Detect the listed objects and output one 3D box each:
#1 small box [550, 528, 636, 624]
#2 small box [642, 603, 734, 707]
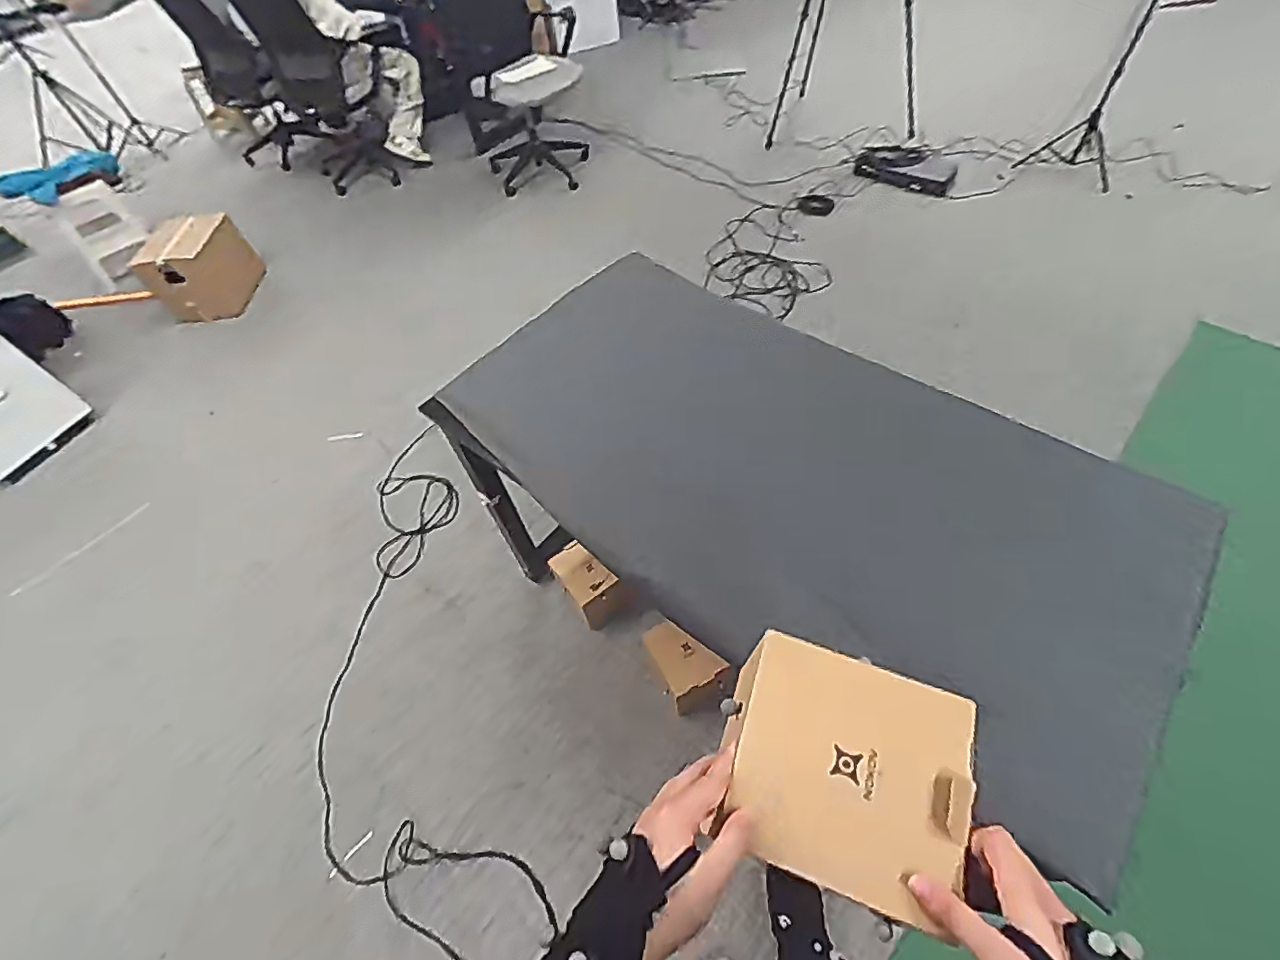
[{"bbox_3d":[-0.128,0.276,1.534,0.168,0.176,0.179,-34,56,-17],"label":"small box"},{"bbox_3d":[0.124,0.451,1.373,0.168,0.176,0.179,-26,54,-13],"label":"small box"}]
